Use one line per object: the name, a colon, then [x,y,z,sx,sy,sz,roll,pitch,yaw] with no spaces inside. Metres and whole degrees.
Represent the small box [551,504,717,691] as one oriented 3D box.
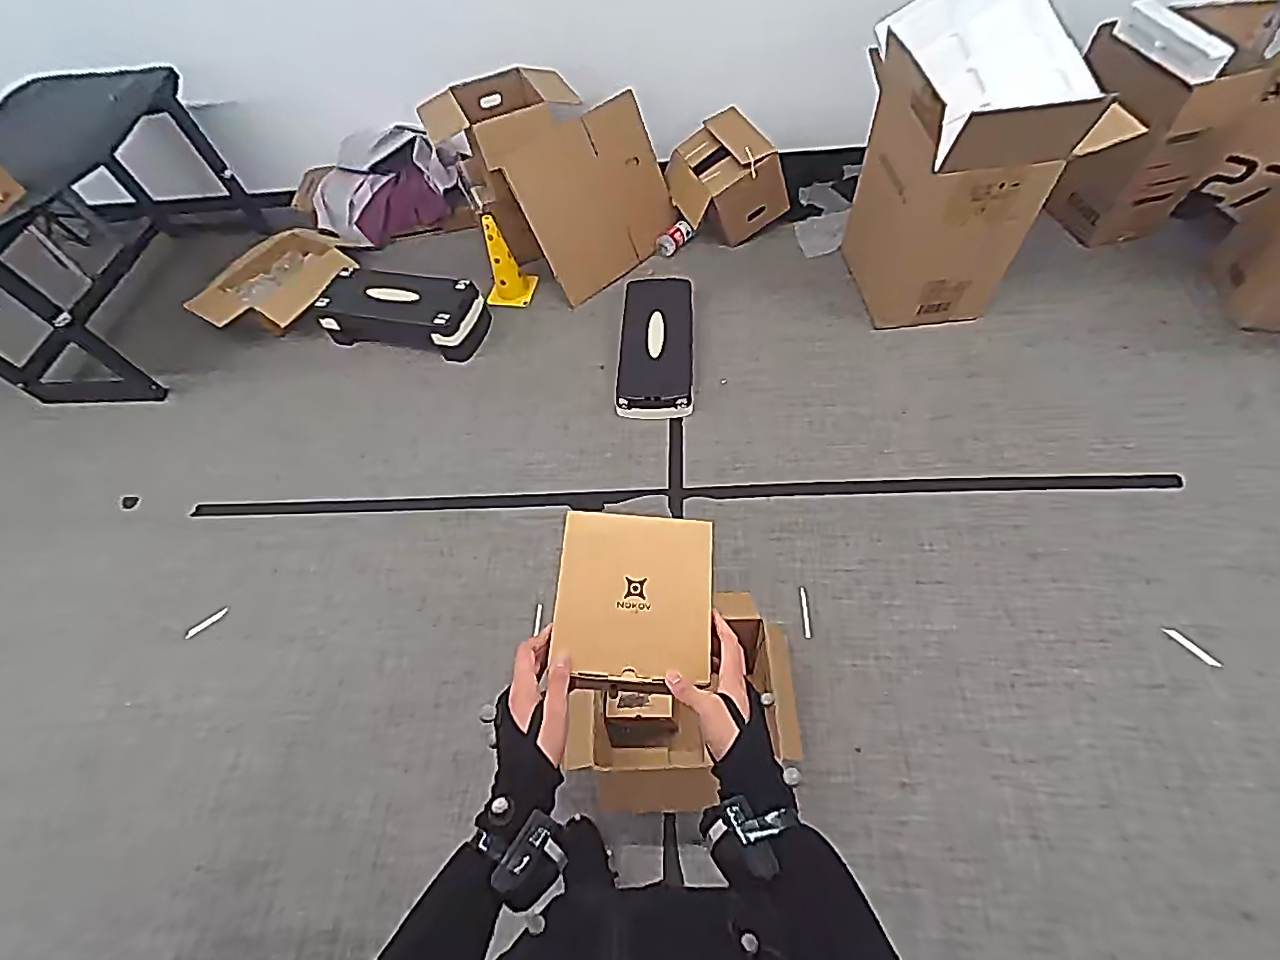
small box: [-0.007,0.145,0.636,0.168,0.176,0.179,5,66,-2]
